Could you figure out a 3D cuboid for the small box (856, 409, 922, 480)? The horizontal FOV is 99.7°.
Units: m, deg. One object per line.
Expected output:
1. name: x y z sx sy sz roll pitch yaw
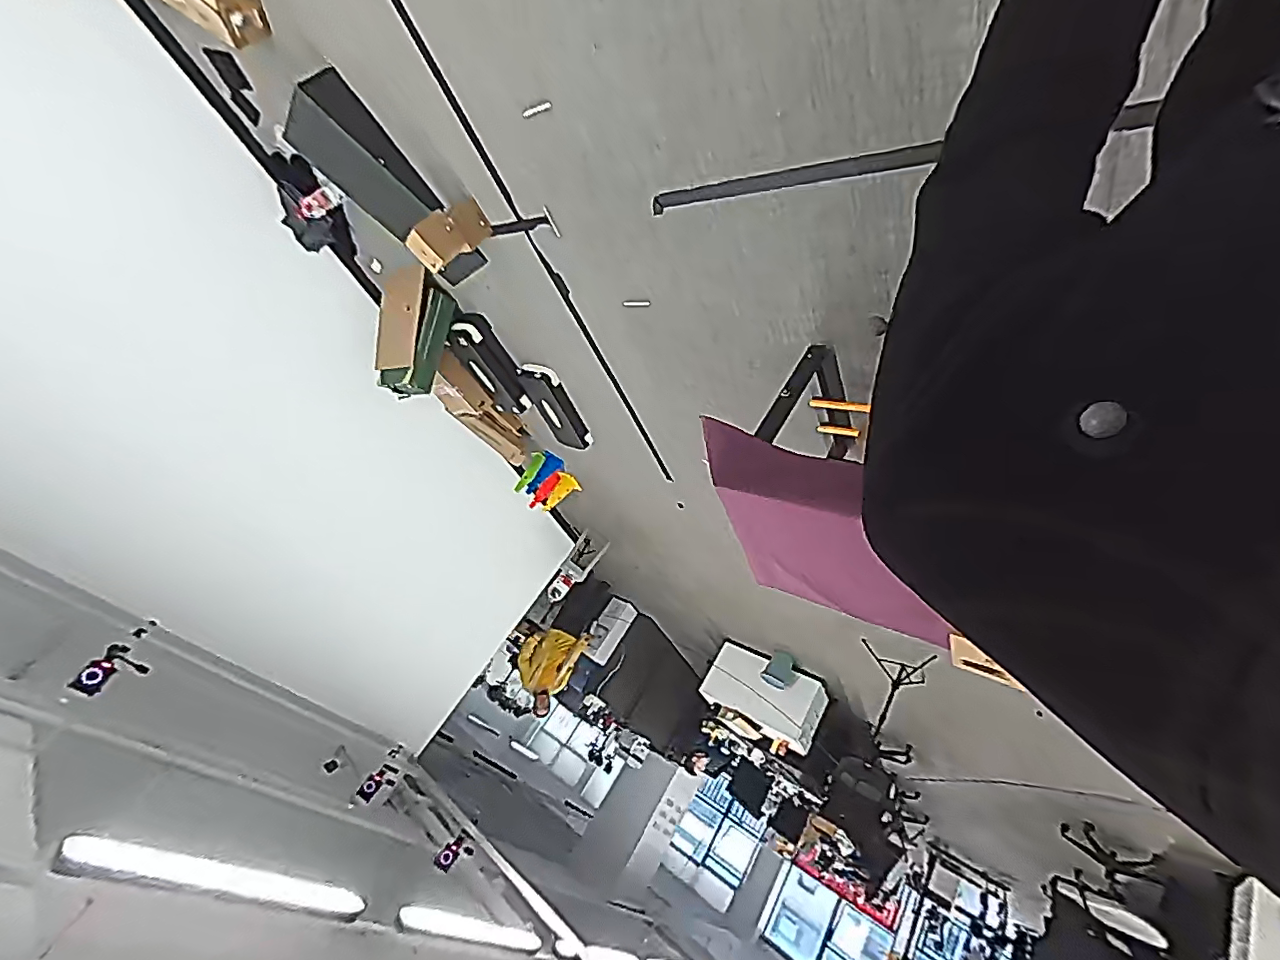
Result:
1. small box: 0.887 -0.131 1.919 0.168 0.176 0.179 15 149 39
